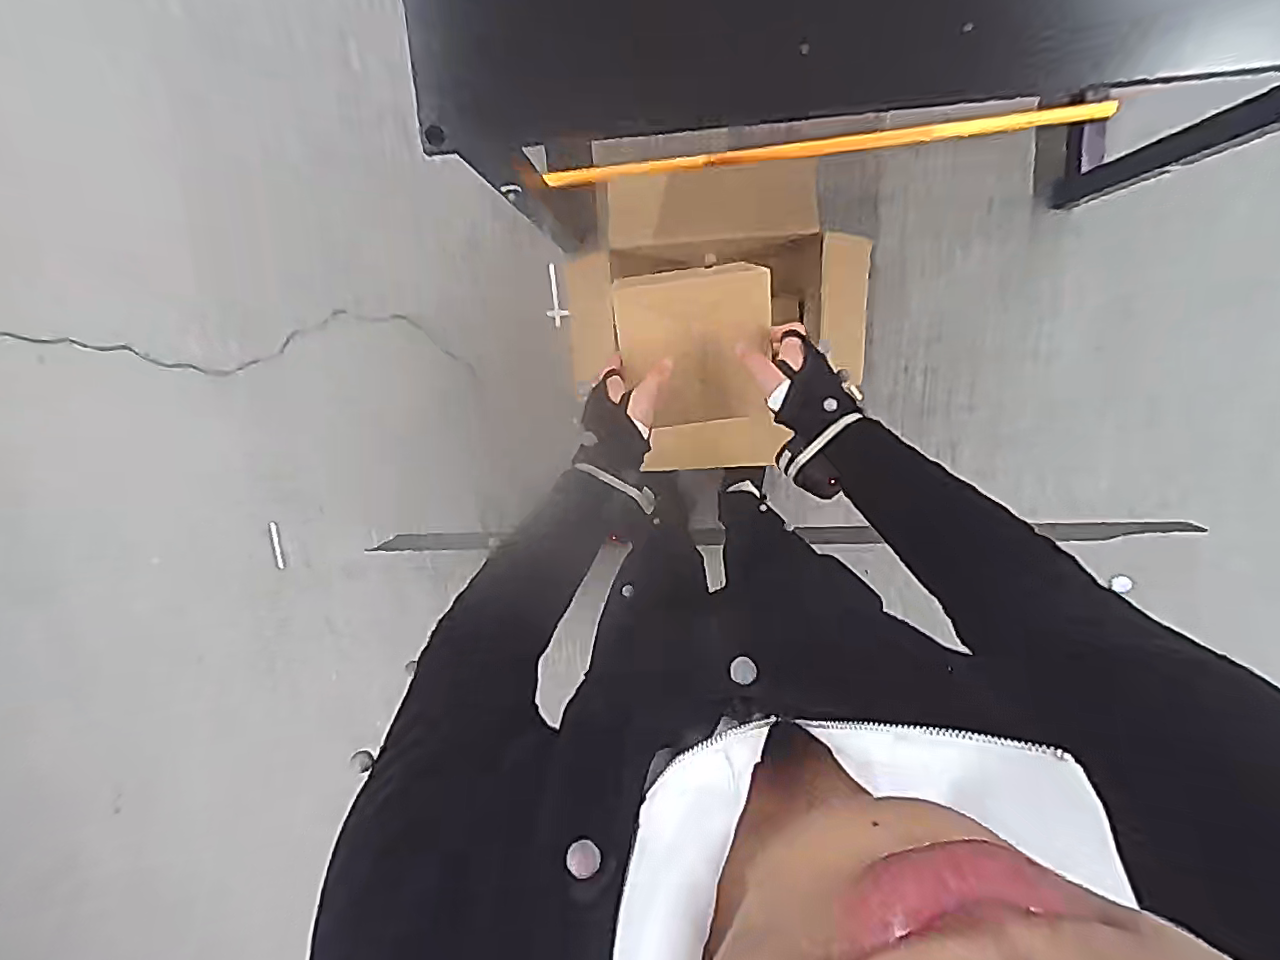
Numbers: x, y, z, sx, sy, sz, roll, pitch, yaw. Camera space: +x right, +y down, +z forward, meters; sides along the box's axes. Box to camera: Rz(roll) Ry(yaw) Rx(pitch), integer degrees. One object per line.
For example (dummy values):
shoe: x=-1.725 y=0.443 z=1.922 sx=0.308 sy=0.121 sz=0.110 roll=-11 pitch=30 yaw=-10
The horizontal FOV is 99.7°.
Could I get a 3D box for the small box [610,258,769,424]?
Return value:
small box: x=0.061 y=-0.180 z=0.688 sx=0.179 sy=0.176 sz=0.168 roll=-7 pitch=114 yaw=2
